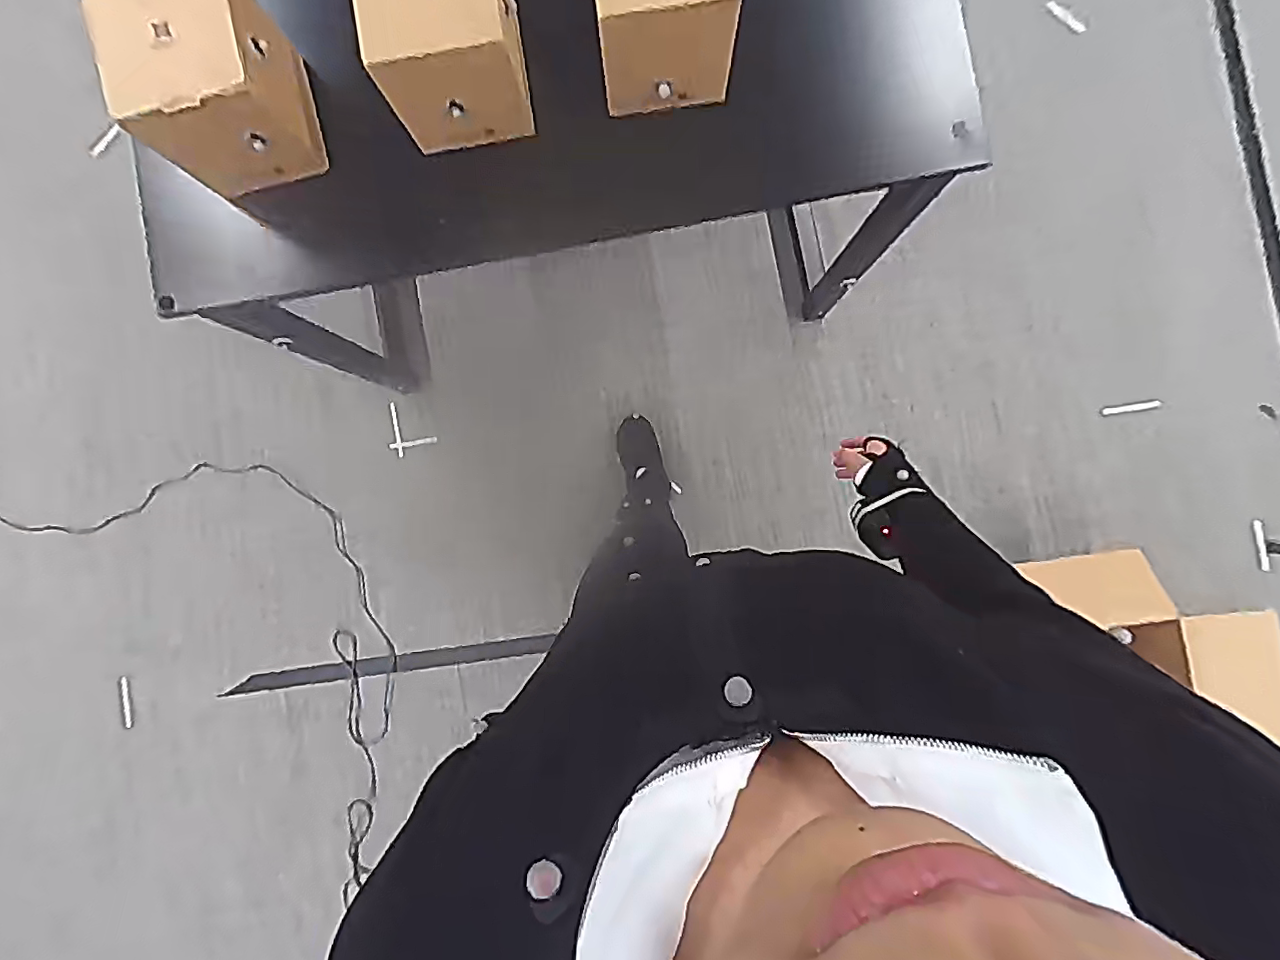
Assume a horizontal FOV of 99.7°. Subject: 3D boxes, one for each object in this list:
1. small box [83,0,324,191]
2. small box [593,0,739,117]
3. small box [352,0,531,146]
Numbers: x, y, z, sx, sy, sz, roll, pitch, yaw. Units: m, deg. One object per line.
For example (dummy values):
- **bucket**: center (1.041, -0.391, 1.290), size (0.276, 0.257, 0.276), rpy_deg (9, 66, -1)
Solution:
- **small box**: center (-0.549, -0.509, 0.705), size (0.168, 0.176, 0.179), rpy_deg (-15, 87, 0)
- **small box**: center (0.024, -0.611, 0.691), size (0.168, 0.176, 0.179), rpy_deg (-7, 89, 2)
- **small box**: center (-0.247, -0.564, 0.697), size (0.168, 0.176, 0.179), rpy_deg (-9, 88, 1)
